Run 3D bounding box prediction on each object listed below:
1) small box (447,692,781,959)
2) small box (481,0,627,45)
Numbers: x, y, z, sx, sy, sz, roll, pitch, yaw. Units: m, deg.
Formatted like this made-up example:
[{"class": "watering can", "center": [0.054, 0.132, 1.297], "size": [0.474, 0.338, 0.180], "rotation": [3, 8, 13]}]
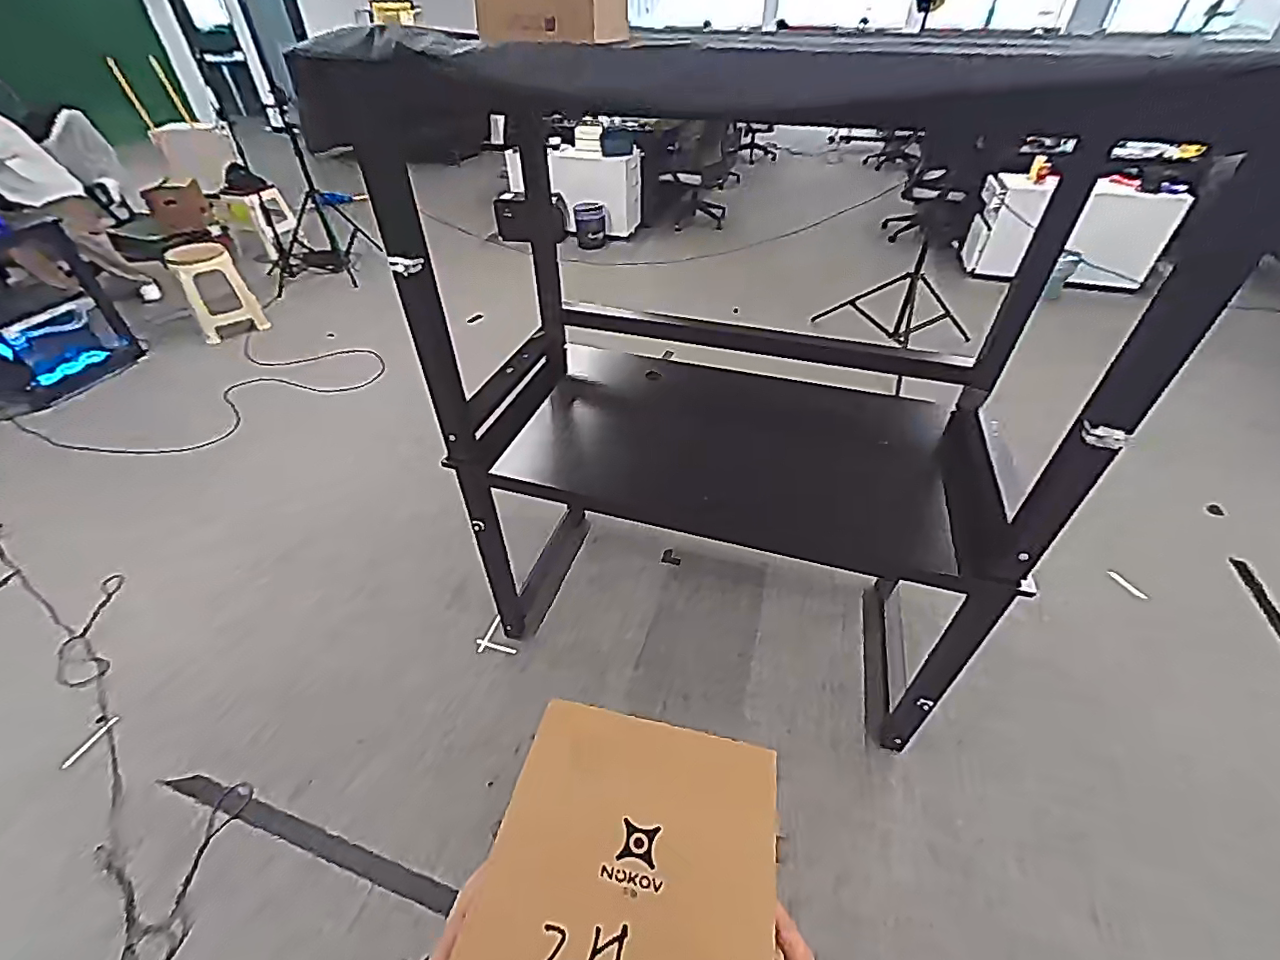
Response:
[{"class": "small box", "center": [-0.007, 0.280, 0.359], "size": [0.168, 0.176, 0.179], "rotation": [10, 36, 8]}, {"class": "small box", "center": [-0.113, -0.691, 0.721], "size": [0.168, 0.176, 0.179], "rotation": [10, 41, 9]}]
